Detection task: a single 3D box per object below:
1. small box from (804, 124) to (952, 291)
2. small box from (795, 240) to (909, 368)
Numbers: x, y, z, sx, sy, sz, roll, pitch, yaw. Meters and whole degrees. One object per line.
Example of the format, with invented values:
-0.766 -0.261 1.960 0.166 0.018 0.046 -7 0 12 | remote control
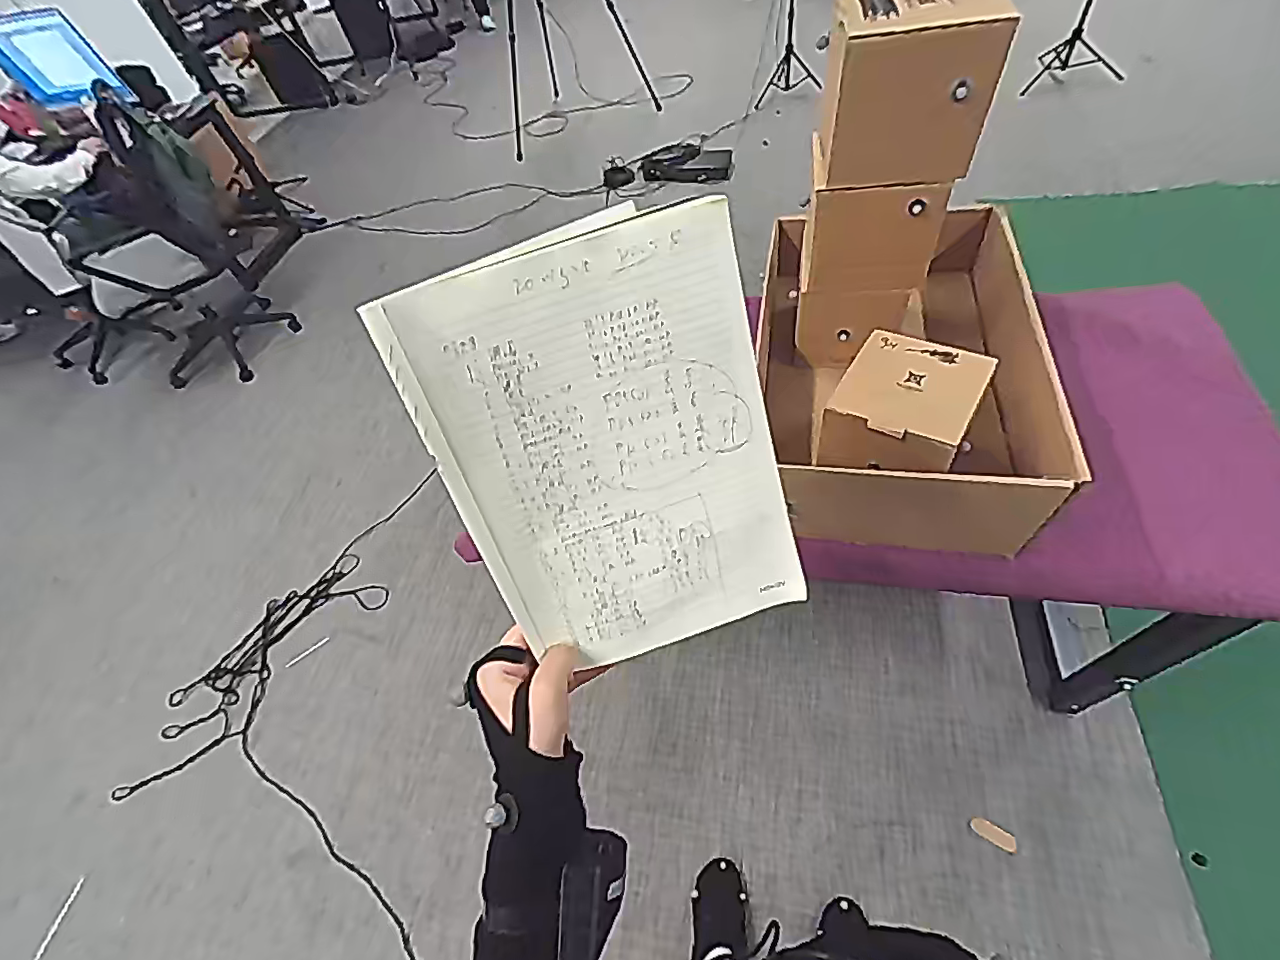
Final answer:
0.343 -0.404 0.820 0.179 0.176 0.168 2 56 13 | small box
0.365 -0.316 0.953 0.168 0.176 0.179 4 57 14 | small box
